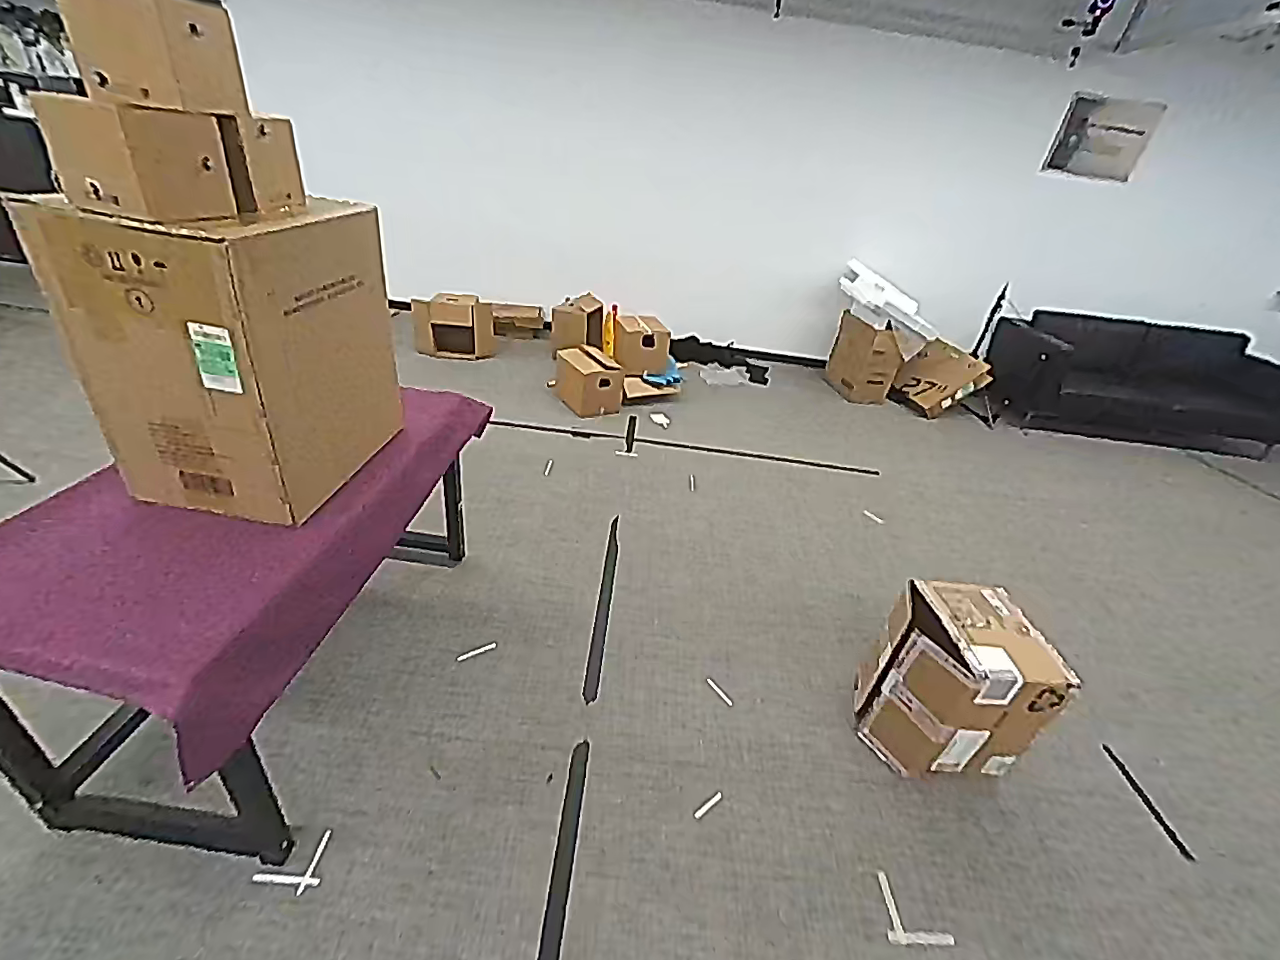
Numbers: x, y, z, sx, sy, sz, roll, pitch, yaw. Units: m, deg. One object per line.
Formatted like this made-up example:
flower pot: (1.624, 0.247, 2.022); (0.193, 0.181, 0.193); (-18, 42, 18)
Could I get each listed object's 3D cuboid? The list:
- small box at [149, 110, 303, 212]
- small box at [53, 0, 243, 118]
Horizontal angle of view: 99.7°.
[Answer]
small box: (-0.857, -0.671, 1.140); (0.179, 0.176, 0.168); (8, 33, 1)
small box: (-0.848, -0.749, 0.953); (0.168, 0.176, 0.179); (7, 31, -2)
